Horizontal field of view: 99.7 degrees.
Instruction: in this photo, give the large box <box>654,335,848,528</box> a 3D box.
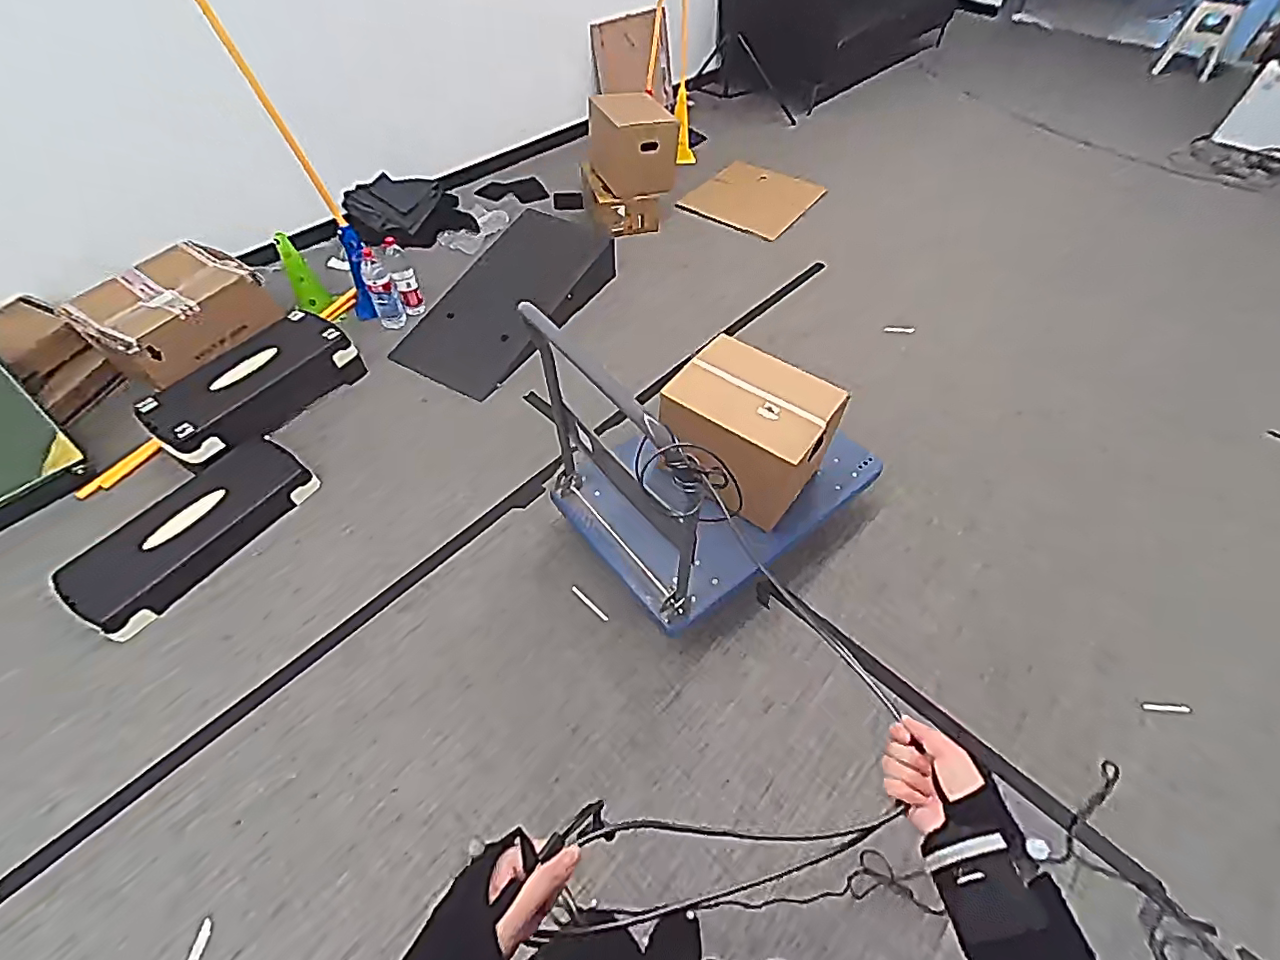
[{"bbox_3d":[0.292,-0.138,1.526,0.408,0.320,0.320,32,60,20],"label":"large box"}]
